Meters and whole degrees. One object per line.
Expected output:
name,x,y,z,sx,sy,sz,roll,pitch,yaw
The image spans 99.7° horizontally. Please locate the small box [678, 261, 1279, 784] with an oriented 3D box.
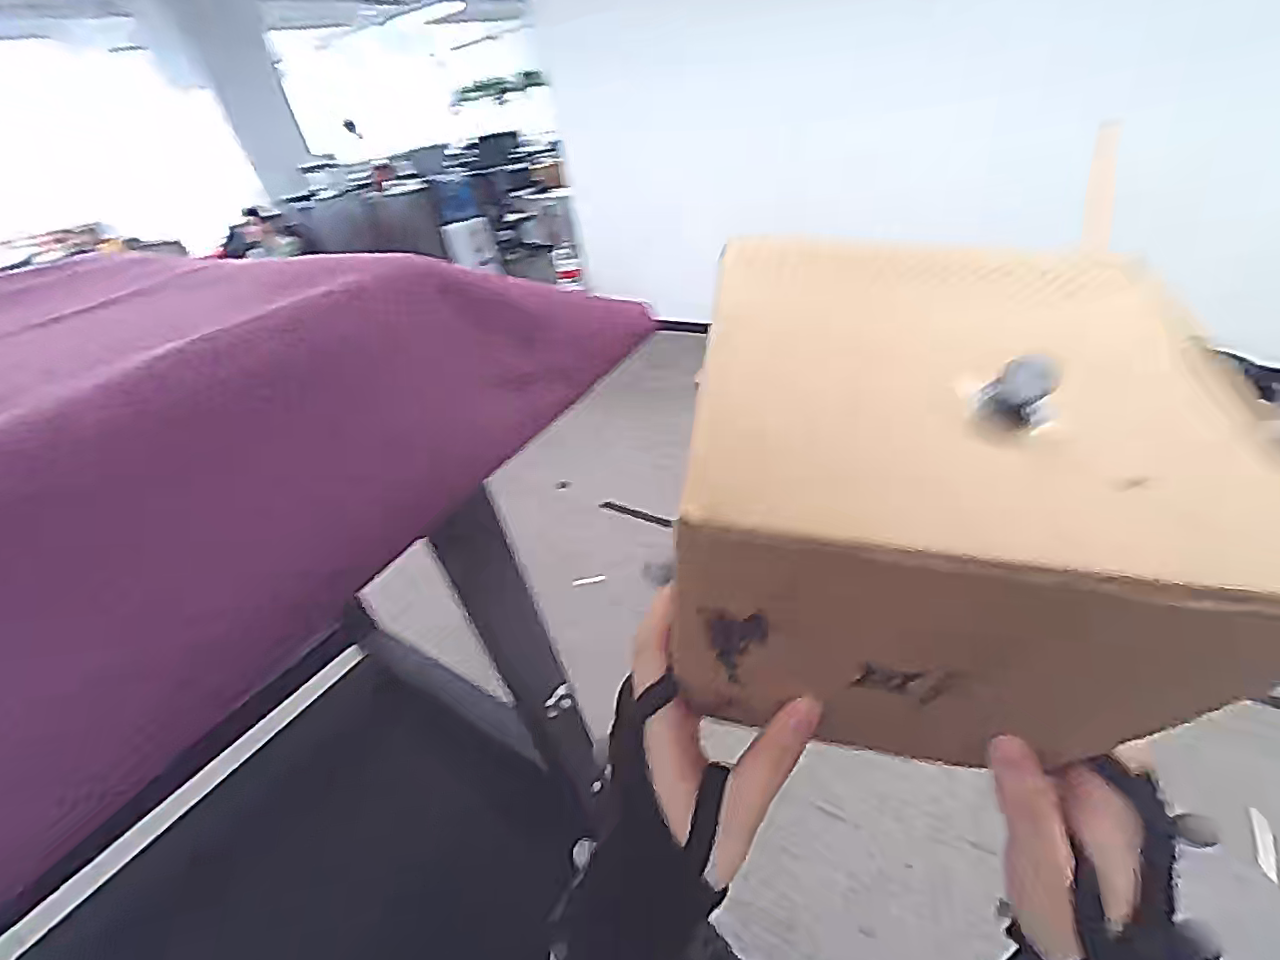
small box,0.115,0.016,0.250,0.179,0.168,0.176,6,48,8
